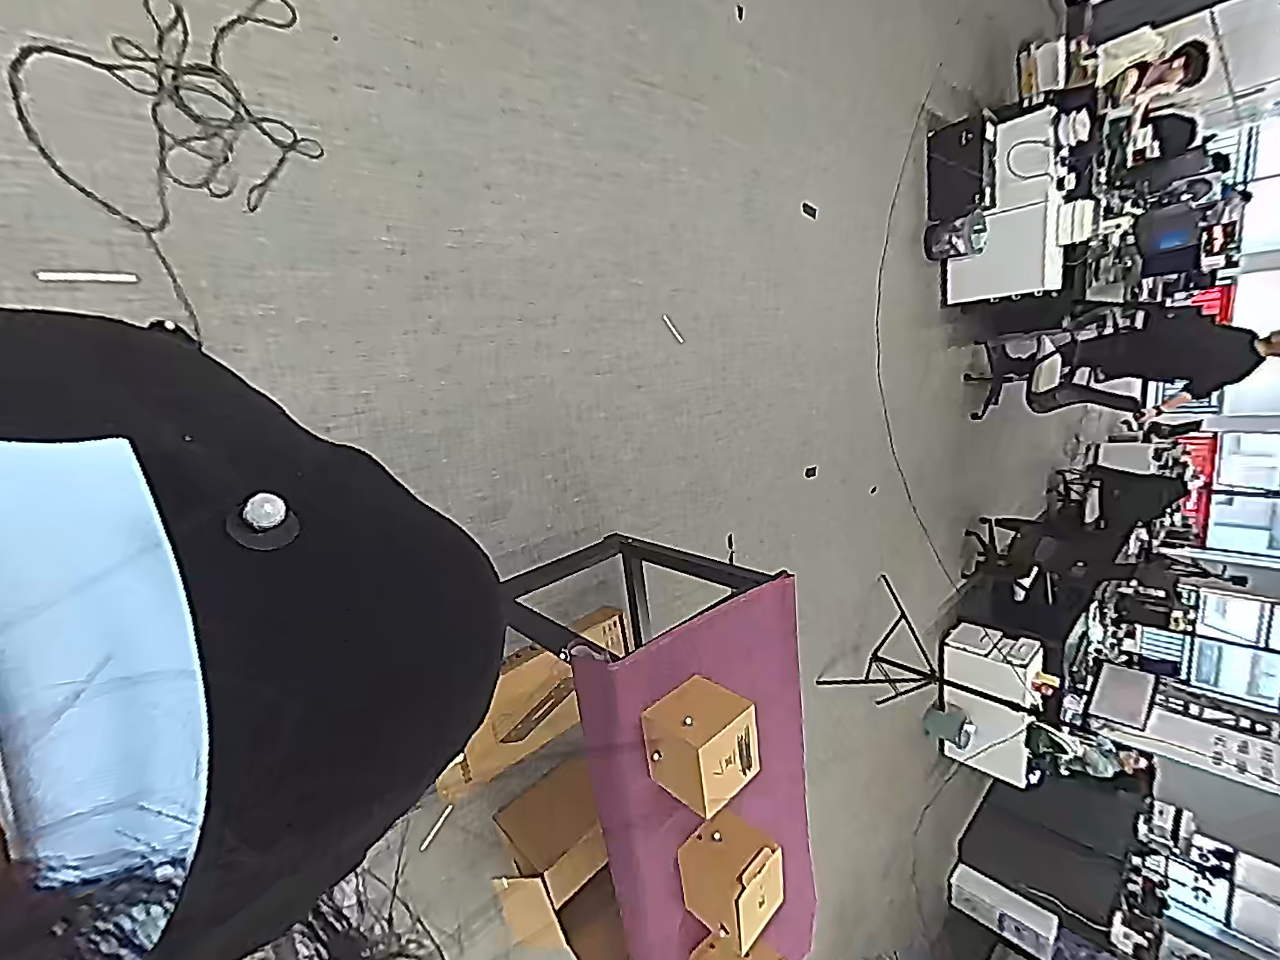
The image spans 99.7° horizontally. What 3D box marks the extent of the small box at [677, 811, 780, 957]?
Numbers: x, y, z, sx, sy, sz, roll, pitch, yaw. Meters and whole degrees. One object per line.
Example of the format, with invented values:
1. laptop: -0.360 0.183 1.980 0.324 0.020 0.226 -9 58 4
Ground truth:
1. small box: 0.205 0.926 1.260 0.168 0.176 0.179 -20 108 -41

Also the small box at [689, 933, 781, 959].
1. small box: 0.228 1.238 1.320 0.168 0.176 0.179 -10 102 -41
